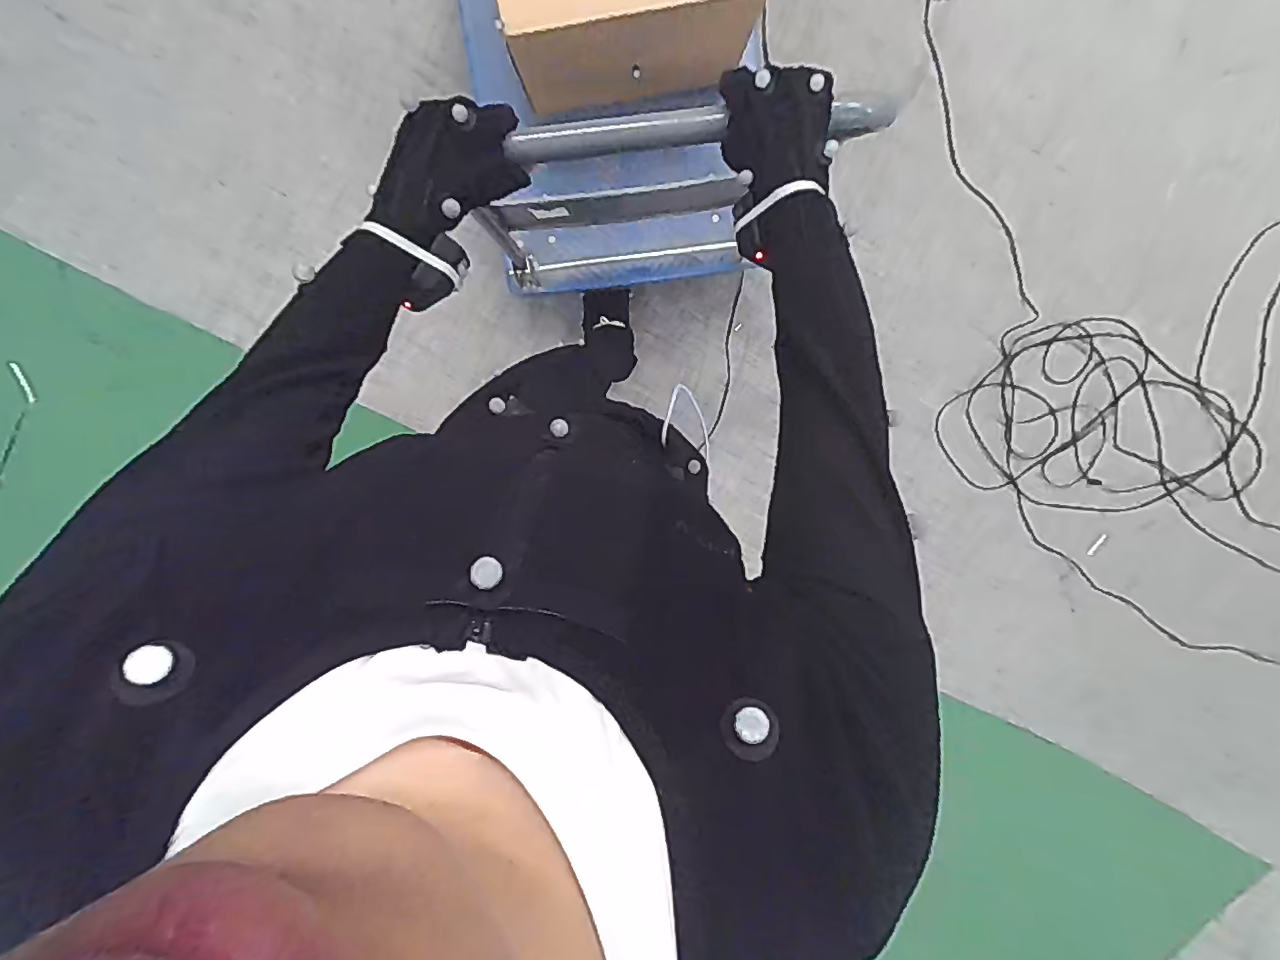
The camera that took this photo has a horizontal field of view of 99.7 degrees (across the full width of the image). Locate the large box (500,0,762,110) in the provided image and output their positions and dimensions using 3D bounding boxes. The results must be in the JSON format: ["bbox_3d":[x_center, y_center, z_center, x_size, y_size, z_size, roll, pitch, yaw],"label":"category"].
[{"bbox_3d":[-0.032,-0.882,0.908,0.408,0.320,0.320,-10,105,1],"label":"large box"}]
